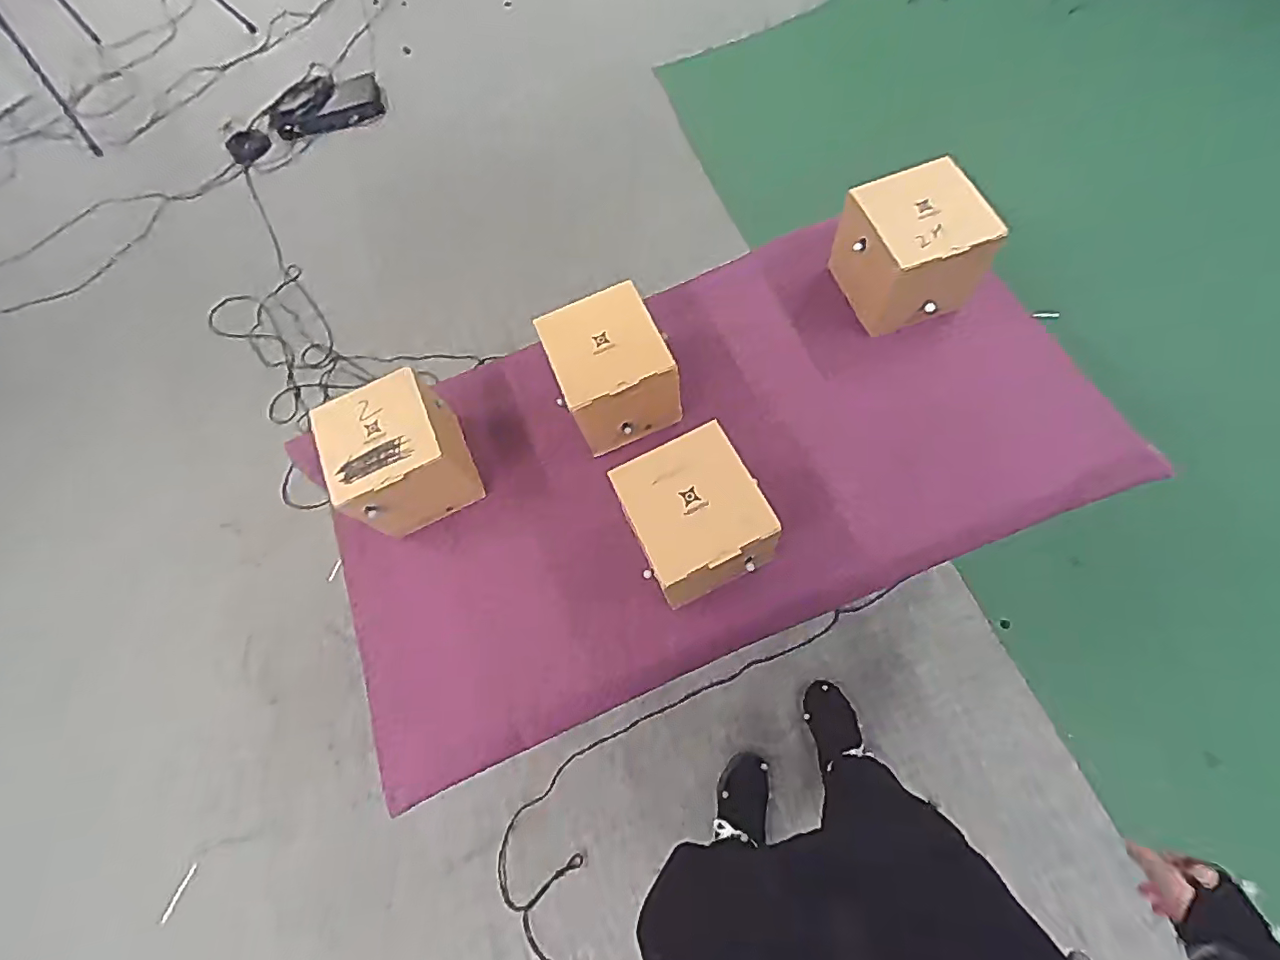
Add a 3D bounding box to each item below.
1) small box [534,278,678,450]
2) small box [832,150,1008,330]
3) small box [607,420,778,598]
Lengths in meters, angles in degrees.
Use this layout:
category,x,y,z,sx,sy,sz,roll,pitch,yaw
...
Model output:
category,x,y,z,sx,sy,sz,roll,pitch,yaw
small box,-0.048,-0.176,0.862,0.168,0.176,0.179,-24,69,-2
small box,0.431,-0.378,0.872,0.168,0.176,0.179,-19,68,1
small box,0.073,0.052,0.757,0.168,0.176,0.179,-26,67,-3
